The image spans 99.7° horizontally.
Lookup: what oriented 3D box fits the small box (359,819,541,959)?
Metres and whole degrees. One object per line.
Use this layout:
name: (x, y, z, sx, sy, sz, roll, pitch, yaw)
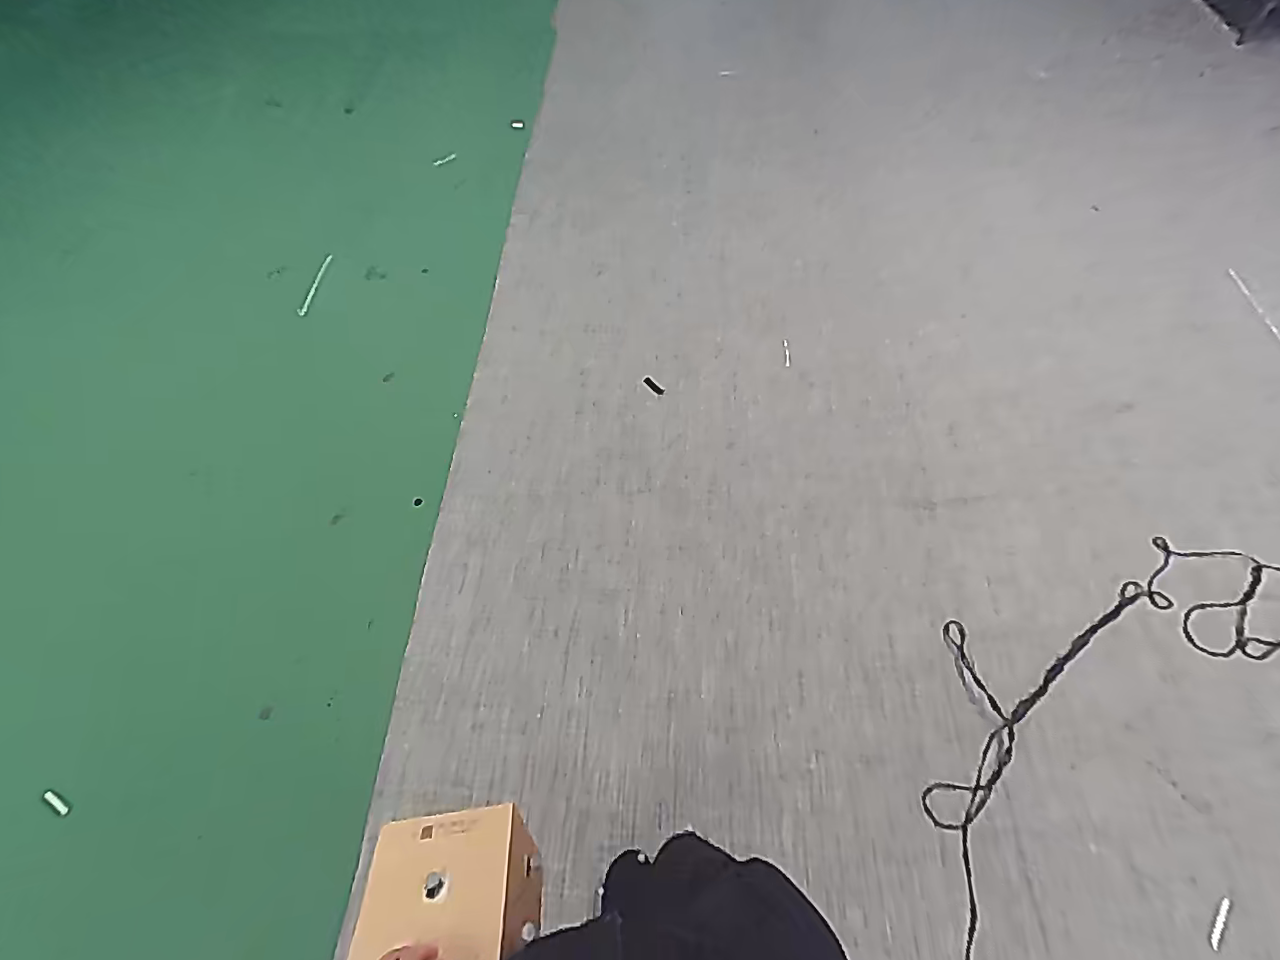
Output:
small box: (-0.218, 0.534, 0.649, 0.168, 0.179, 0.176, -9, 34, -2)
